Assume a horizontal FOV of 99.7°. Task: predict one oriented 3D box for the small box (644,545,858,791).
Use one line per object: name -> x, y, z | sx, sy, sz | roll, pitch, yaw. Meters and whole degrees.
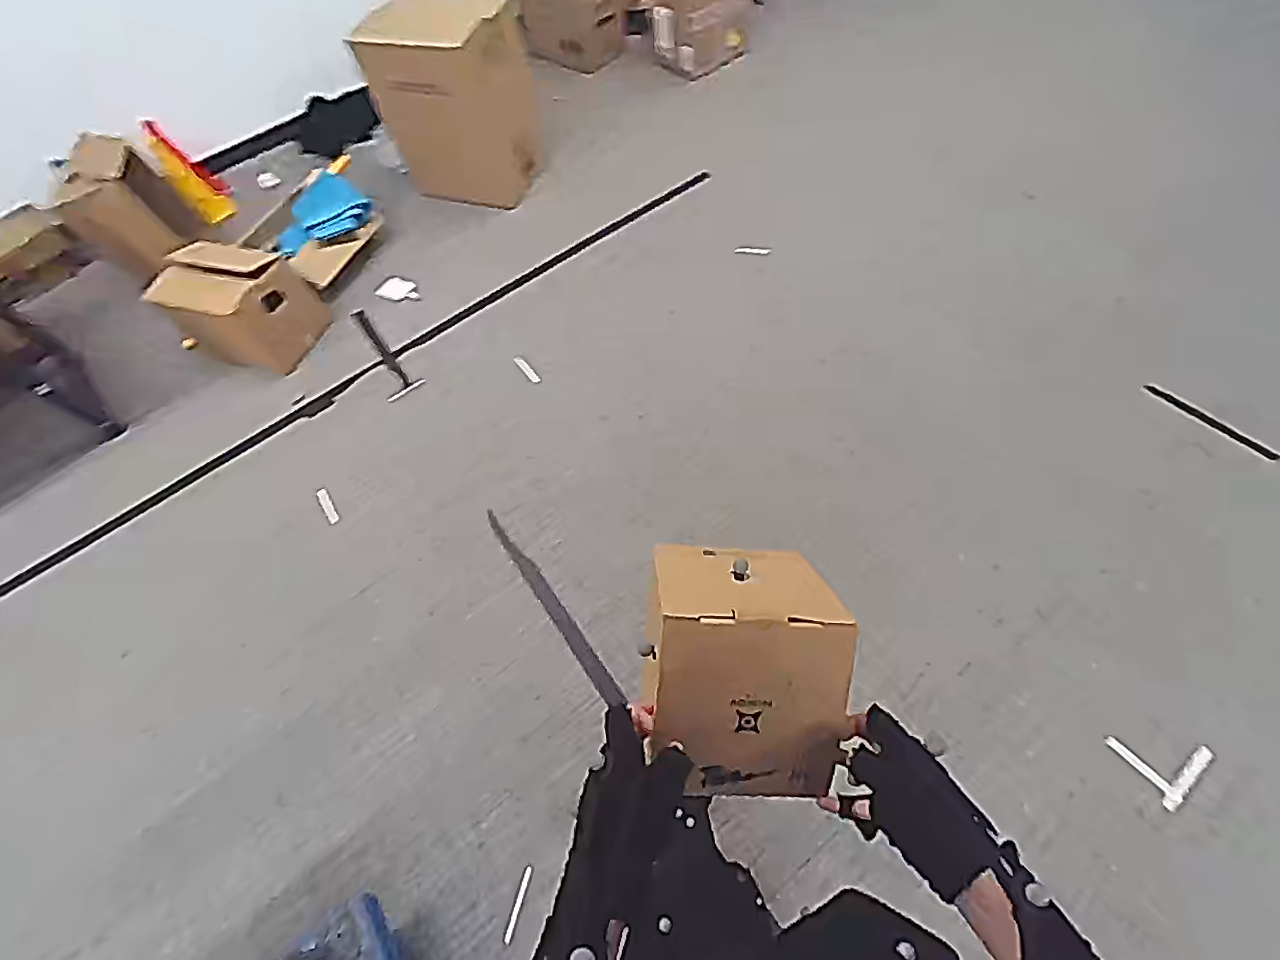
small box -> 0.094, 0.175, 0.546 | 0.168, 0.176, 0.179 | 4, 104, -2
